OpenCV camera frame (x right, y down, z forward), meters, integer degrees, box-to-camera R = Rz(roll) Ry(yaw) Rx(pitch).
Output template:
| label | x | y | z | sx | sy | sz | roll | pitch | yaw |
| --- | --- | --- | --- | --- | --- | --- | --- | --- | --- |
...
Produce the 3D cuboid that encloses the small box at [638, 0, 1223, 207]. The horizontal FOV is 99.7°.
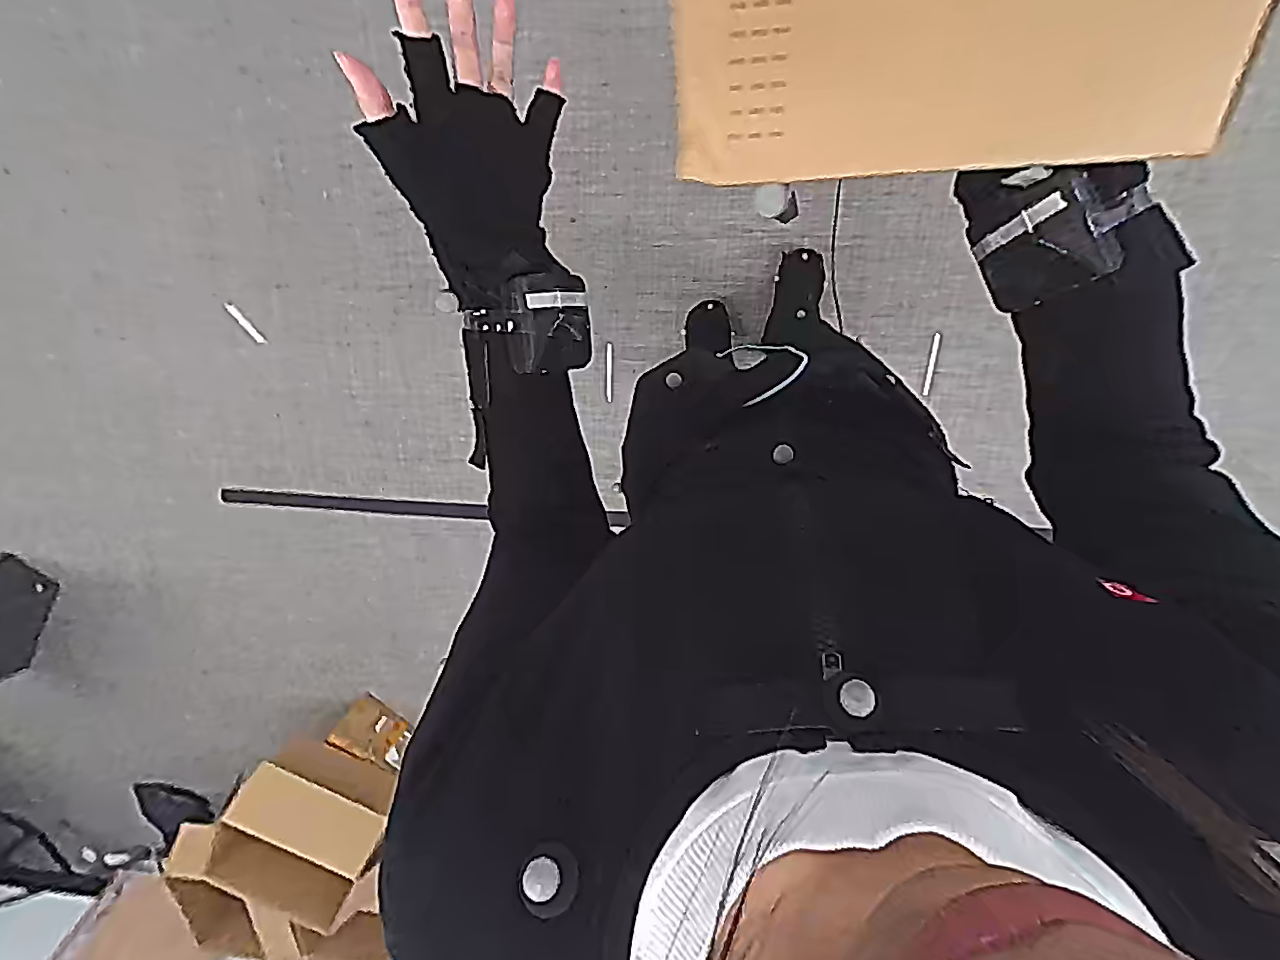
| label | x | y | z | sx | sy | sz | roll | pitch | yaw |
| --- | --- | --- | --- | --- | --- | --- | --- | --- | --- |
| small box | 0.085 | -0.215 | 0.207 | 0.176 | 0.168 | 0.179 | 0 | 122 | 7 |
